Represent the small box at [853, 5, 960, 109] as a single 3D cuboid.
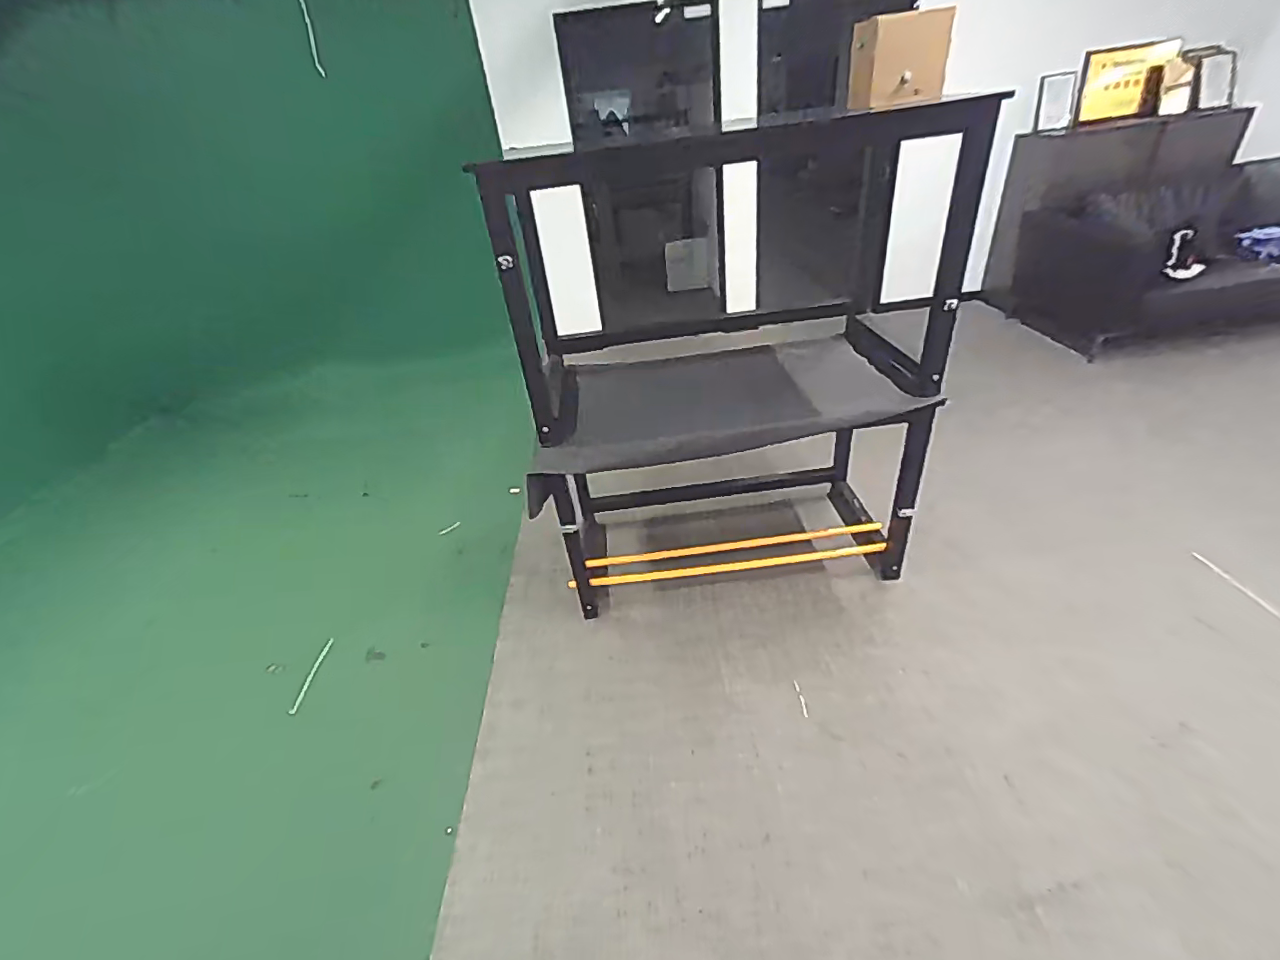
[{"bbox_3d":[0.609,-0.978,1.264,0.168,0.176,0.179,-5,35,5],"label":"small box"}]
